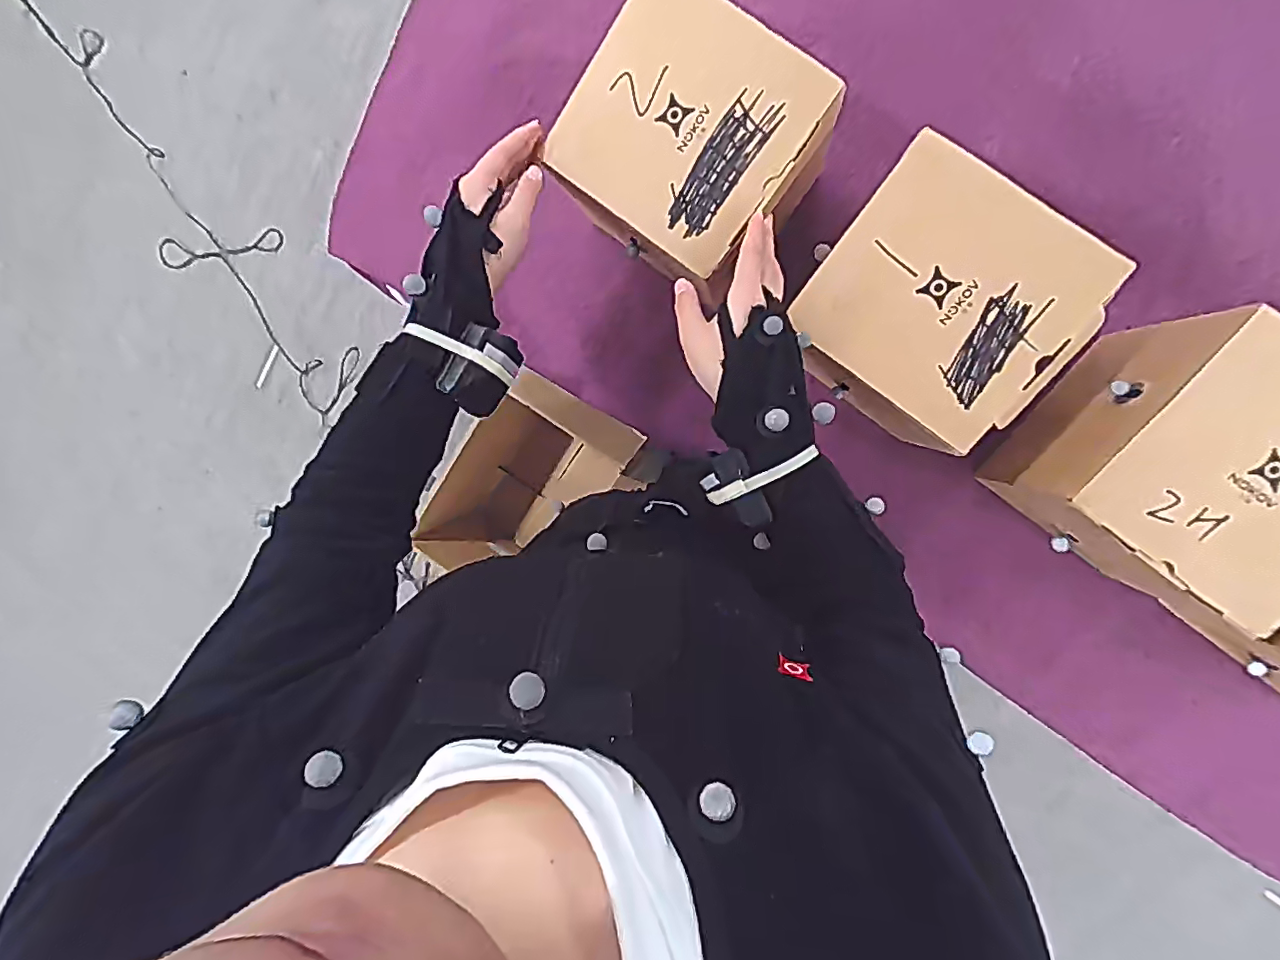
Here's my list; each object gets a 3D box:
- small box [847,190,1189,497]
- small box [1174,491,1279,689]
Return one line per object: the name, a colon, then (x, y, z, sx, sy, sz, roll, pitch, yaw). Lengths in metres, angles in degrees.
small box: (0.285, -0.114, 0.451, 0.179, 0.176, 0.168, 18, 141, 12)
small box: (0.612, 0.107, 0.432, 0.168, 0.176, 0.179, 38, 102, 4)
